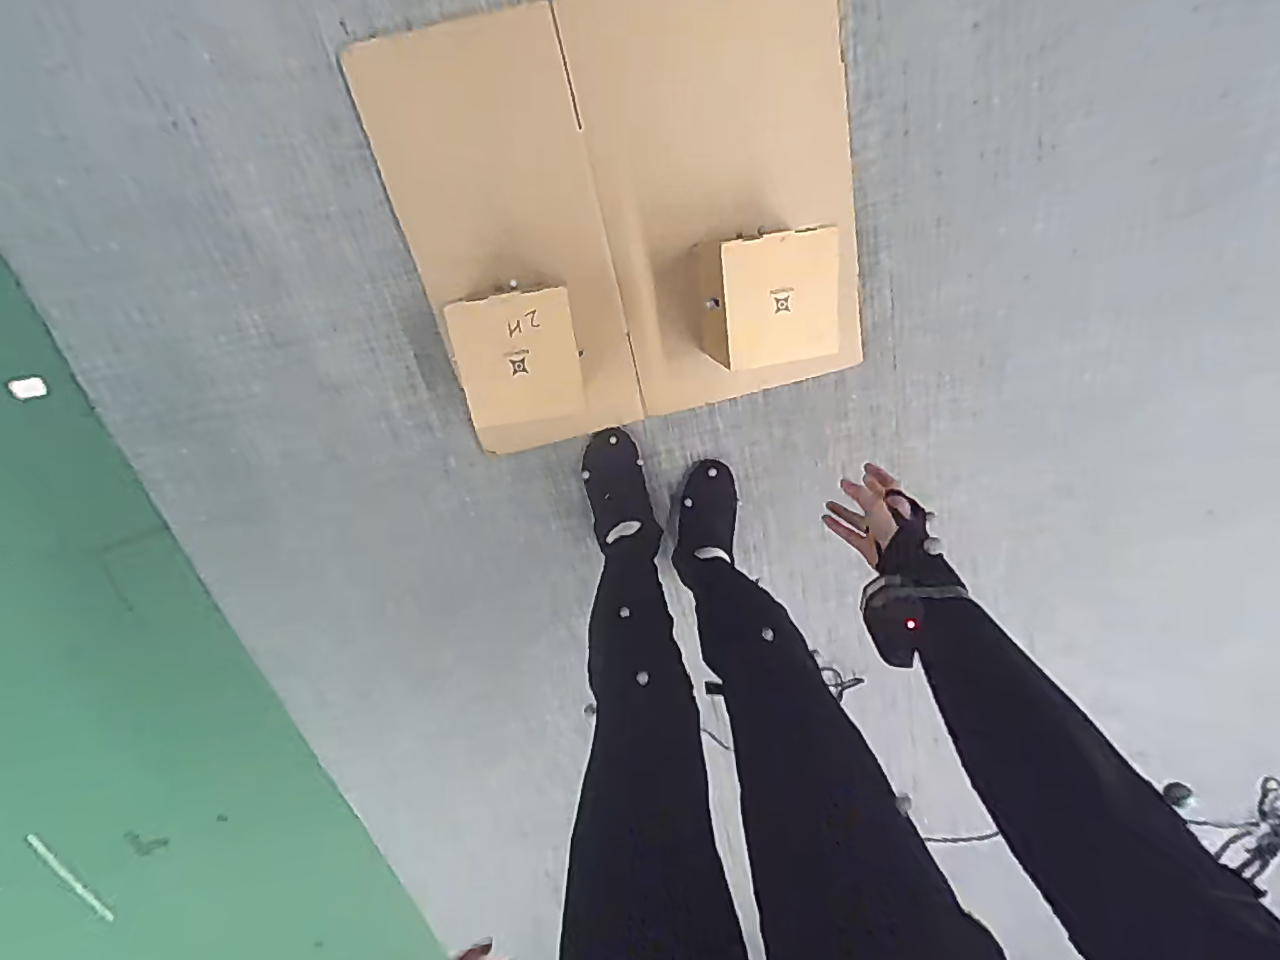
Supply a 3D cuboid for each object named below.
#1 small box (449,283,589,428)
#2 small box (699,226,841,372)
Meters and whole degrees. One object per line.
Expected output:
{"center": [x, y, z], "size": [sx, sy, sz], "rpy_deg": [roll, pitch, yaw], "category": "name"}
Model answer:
{"center": [-0.170, -0.195, 0.817], "size": [0.168, 0.176, 0.179], "rpy_deg": [-9, 112, -4], "category": "small box"}
{"center": [0.192, -0.277, 0.825], "size": [0.168, 0.176, 0.179], "rpy_deg": [-10, 112, -3], "category": "small box"}
